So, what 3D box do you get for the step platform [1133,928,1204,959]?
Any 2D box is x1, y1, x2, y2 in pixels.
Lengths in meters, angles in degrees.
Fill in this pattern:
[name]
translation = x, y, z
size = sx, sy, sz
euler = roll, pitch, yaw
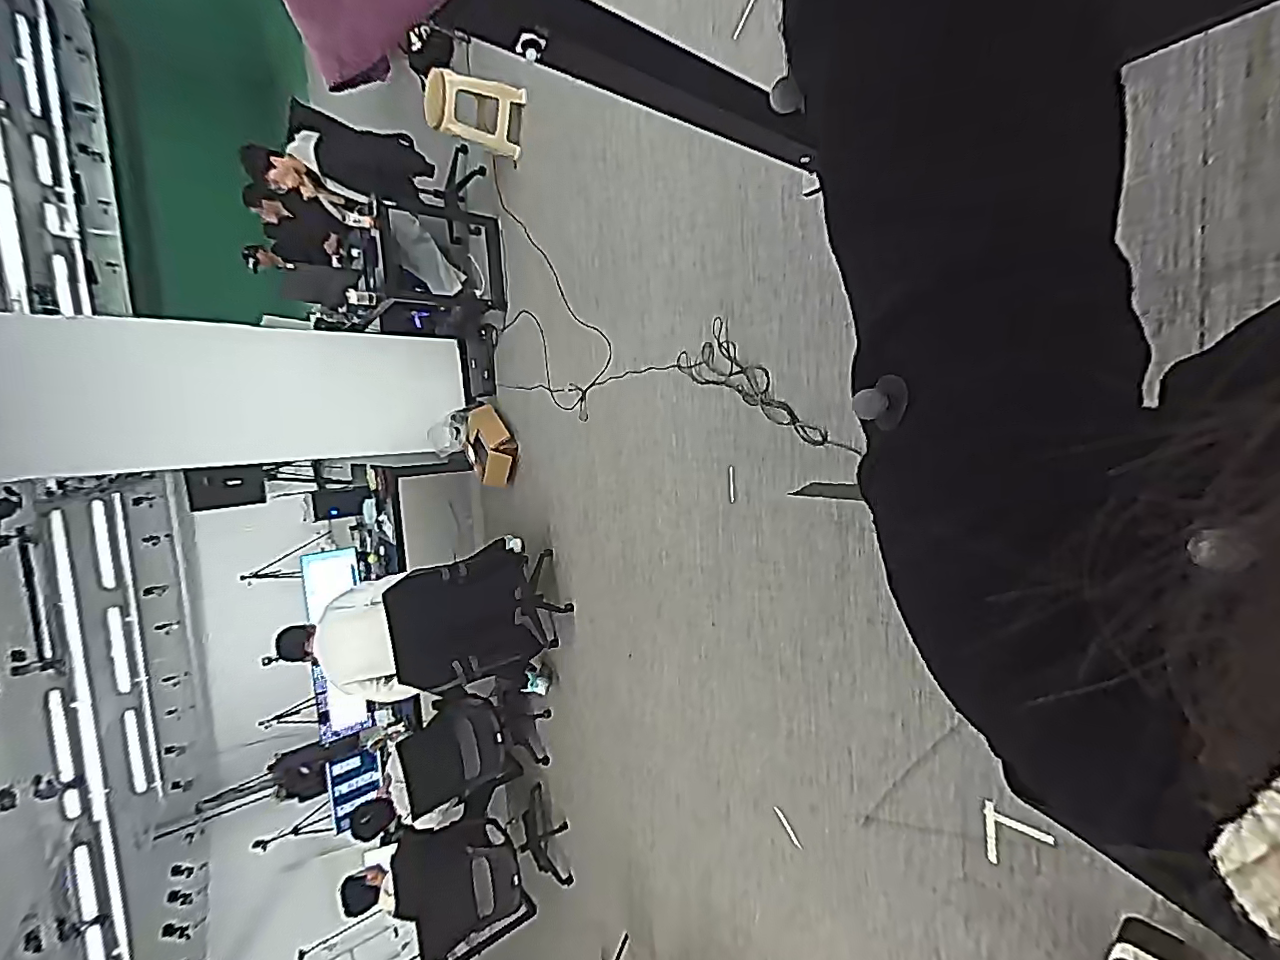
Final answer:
[step platform]
translation = 1.264, 1.178, 0.919
size = 0.684, 0.204, 0.286
euler = 13, 106, 50
